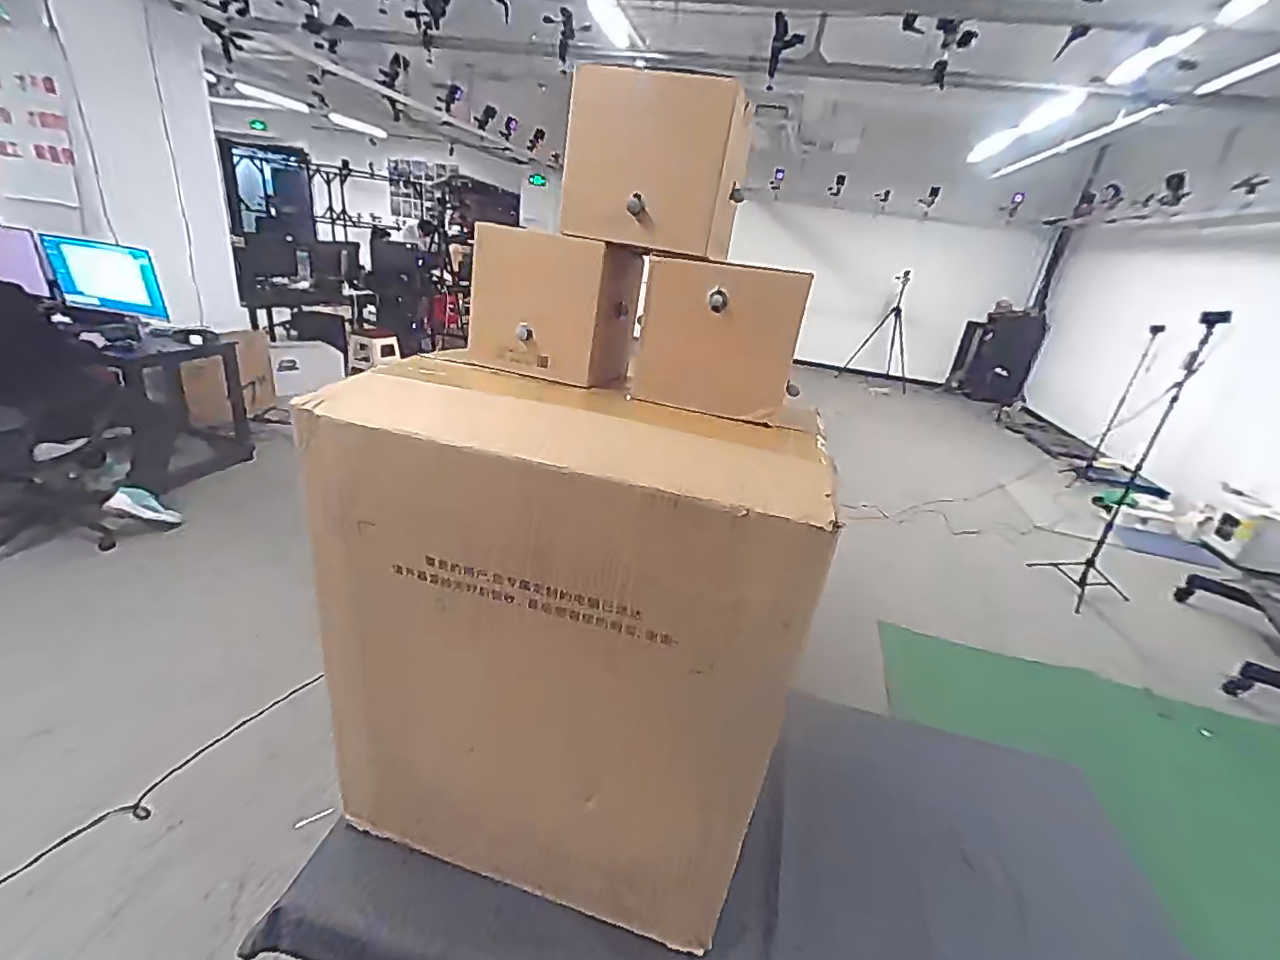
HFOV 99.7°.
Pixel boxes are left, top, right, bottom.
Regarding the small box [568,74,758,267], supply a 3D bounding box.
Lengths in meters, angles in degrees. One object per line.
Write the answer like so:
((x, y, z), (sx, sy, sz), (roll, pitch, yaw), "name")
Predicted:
((0.030, -0.349, 0.648), (0.179, 0.176, 0.168), (14, 19, 11), "small box")

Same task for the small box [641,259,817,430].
((0.109, -0.169, 0.677), (0.179, 0.176, 0.168), (14, 21, 10), "small box")
